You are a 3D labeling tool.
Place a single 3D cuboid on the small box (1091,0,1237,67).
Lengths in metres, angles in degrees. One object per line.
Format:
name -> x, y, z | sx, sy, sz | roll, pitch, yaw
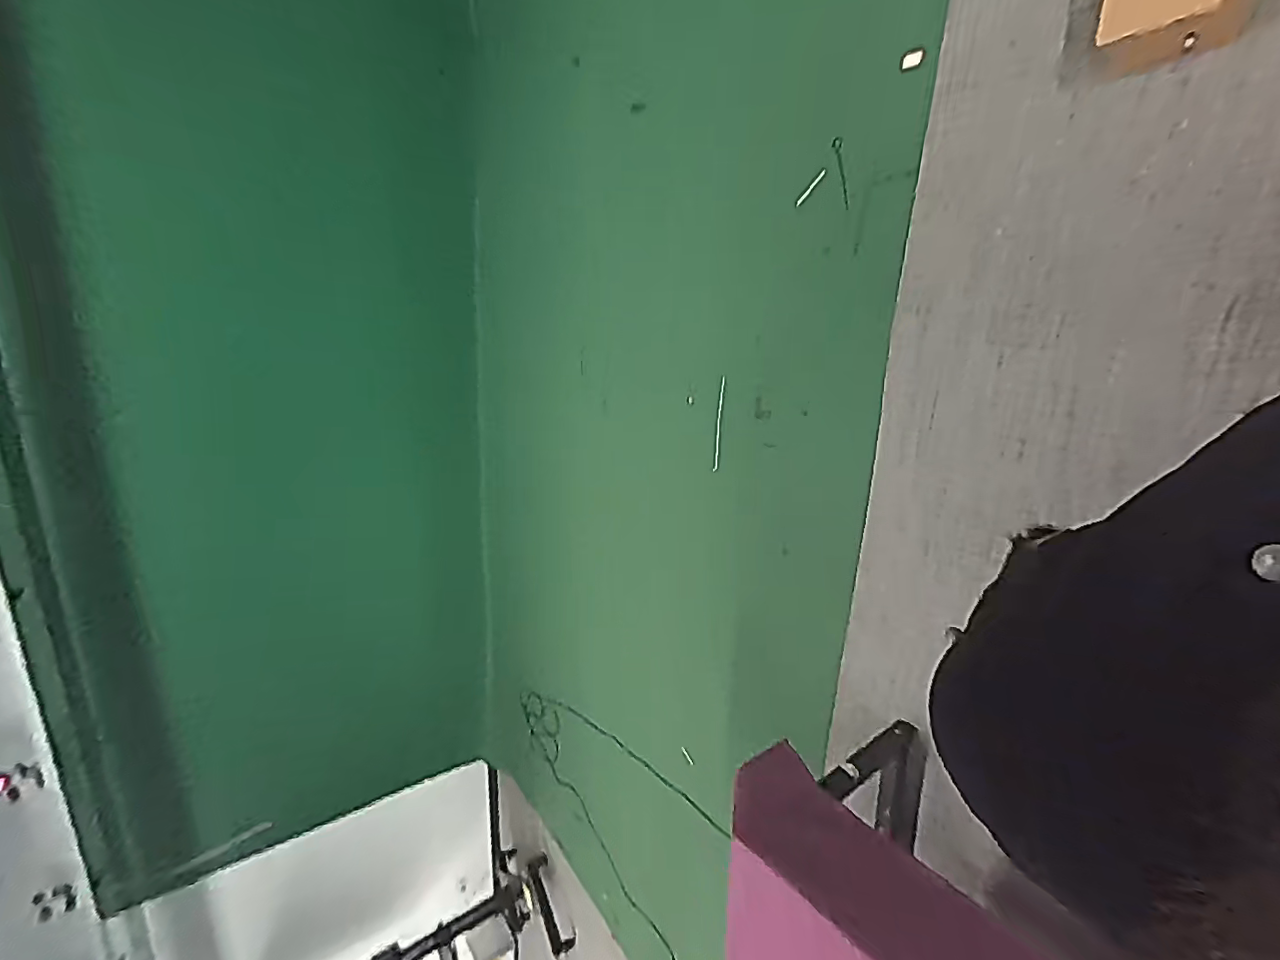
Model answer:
small box -> 0.960, -0.886, 0.978 | 0.168, 0.176, 0.179 | 18, 111, 50
